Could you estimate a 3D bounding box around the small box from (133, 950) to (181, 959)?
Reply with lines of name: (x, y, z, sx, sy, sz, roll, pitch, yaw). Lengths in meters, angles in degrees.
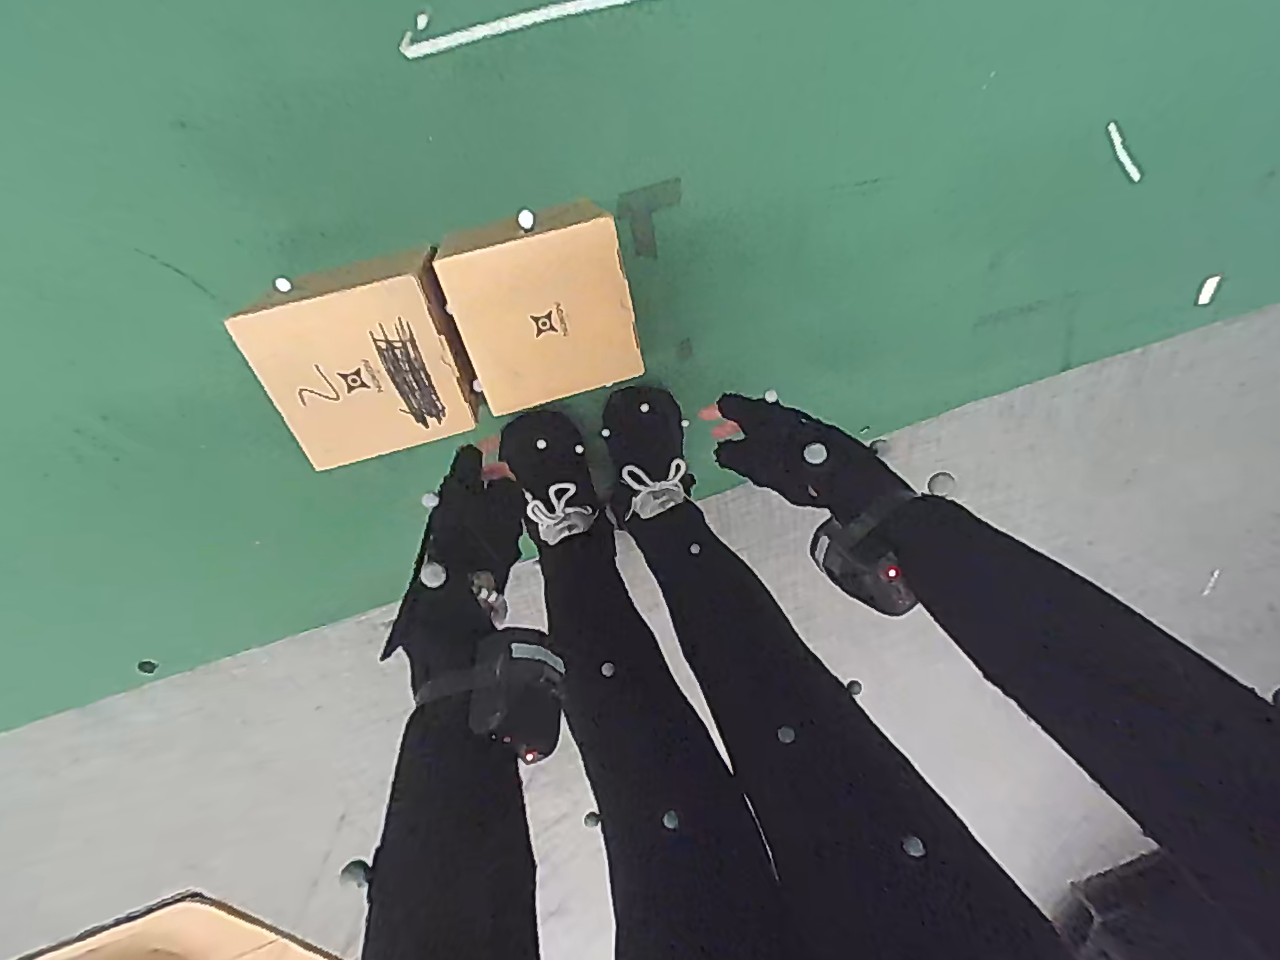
small box: (-1.095, 1.152, 1.147, 0.179, 0.176, 0.168, -17, 125, -6)
